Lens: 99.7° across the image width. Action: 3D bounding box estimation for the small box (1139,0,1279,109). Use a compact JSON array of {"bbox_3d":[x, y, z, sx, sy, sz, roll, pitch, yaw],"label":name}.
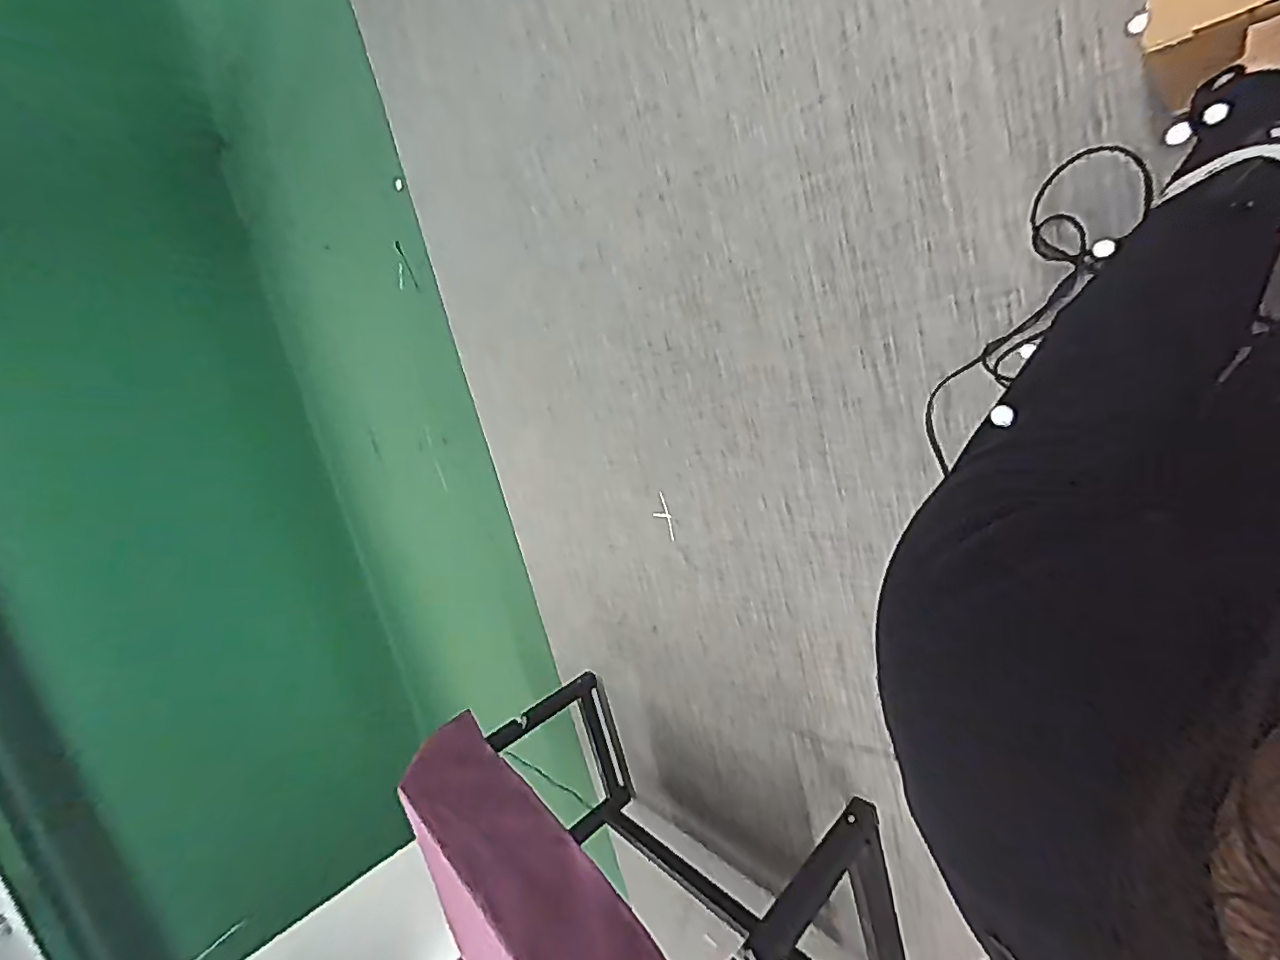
[{"bbox_3d":[0.549,-0.457,0.453,0.168,0.176,0.179,8,104,50],"label":"small box"}]
